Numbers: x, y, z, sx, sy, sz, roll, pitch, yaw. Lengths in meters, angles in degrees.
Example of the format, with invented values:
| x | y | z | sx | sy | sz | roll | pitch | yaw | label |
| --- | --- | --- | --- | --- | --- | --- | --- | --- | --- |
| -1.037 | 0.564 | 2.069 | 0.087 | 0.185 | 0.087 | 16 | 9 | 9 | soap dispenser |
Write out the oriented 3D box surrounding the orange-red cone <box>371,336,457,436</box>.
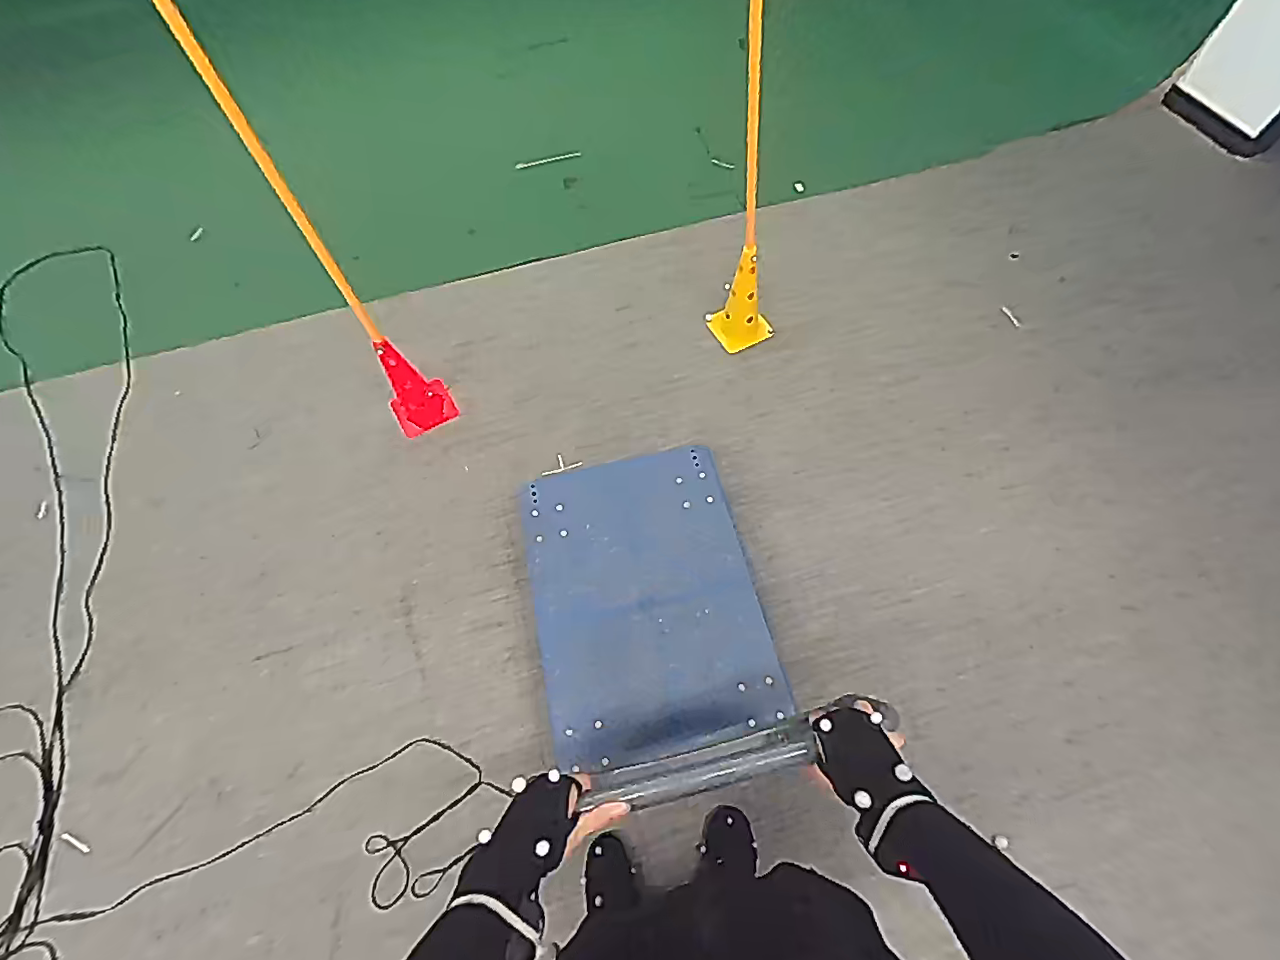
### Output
| x | y | z | sx | sy | sz | roll | pitch | yaw | label |
| --- | --- | --- | --- | --- | --- | --- | --- | --- | --- |
| -0.777 | -0.335 | 1.770 | 0.199 | 0.360 | 0.198 | -30 | 65 | -10 | orange-red cone |
